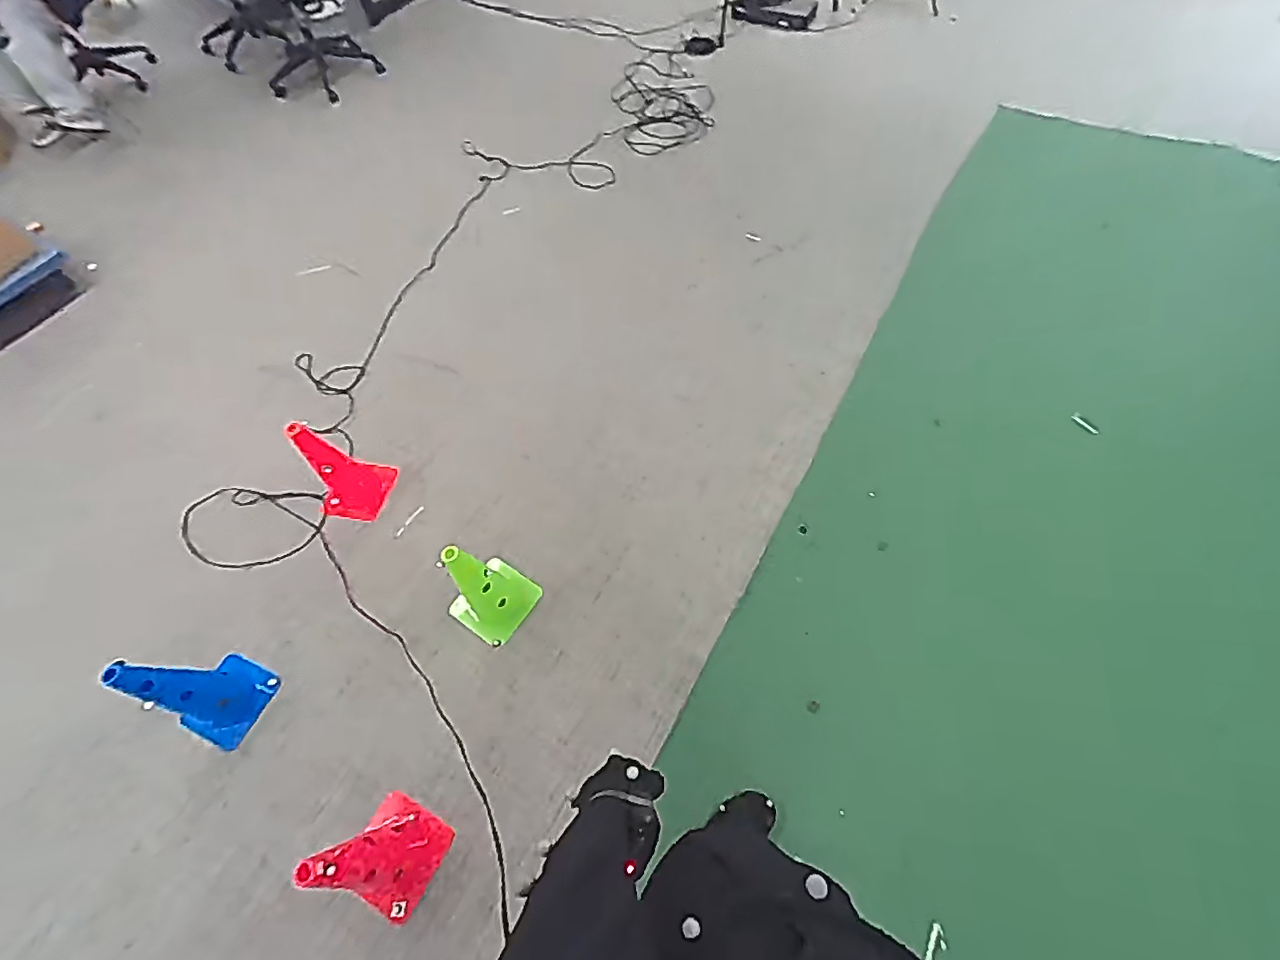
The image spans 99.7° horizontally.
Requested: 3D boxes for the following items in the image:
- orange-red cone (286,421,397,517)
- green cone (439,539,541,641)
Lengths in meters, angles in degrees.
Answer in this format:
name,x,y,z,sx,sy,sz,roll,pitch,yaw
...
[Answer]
name,x,y,z,sx,sy,sz,roll,pitch,yaw
orange-red cone,-0.916,-0.062,1.597,0.199,0.360,0.198,10,63,8
green cone,-0.419,0.241,1.380,0.202,0.368,0.200,28,66,20
